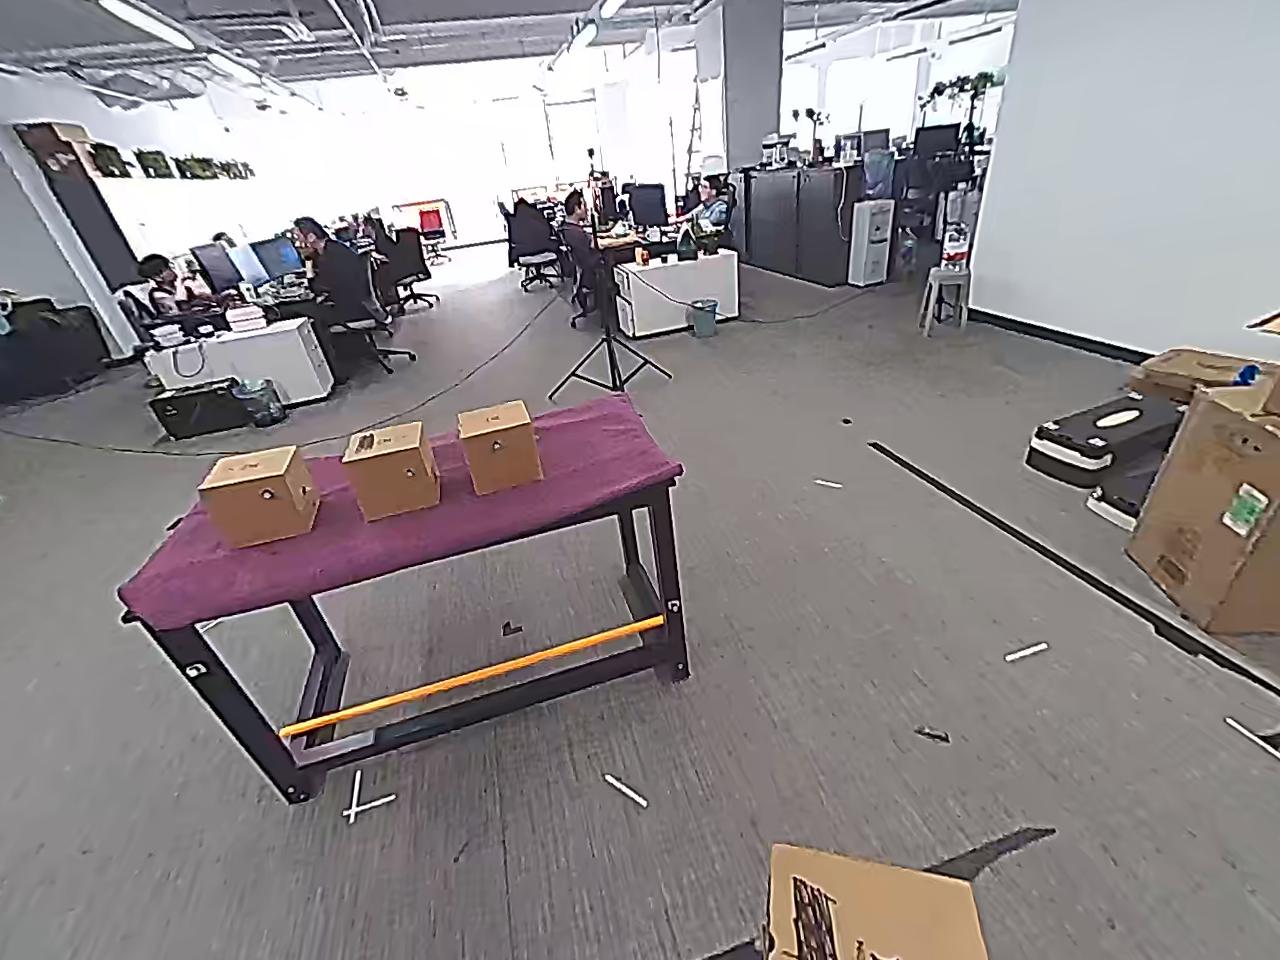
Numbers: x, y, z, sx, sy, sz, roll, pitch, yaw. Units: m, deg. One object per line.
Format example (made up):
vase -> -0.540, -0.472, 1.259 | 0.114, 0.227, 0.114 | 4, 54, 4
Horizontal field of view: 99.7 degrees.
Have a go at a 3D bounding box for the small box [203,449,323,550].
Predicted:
small box -> -0.905, 0.046, 1.321 | 0.179, 0.176, 0.168 | -13, 30, -14

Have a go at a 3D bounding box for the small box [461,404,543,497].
small box -> -0.360, -0.079, 1.425 | 0.179, 0.176, 0.168 | -16, 31, -12

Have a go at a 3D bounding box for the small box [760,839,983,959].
small box -> 0.197, 0.464, 0.478 | 0.179, 0.176, 0.168 | 2, 29, 16
